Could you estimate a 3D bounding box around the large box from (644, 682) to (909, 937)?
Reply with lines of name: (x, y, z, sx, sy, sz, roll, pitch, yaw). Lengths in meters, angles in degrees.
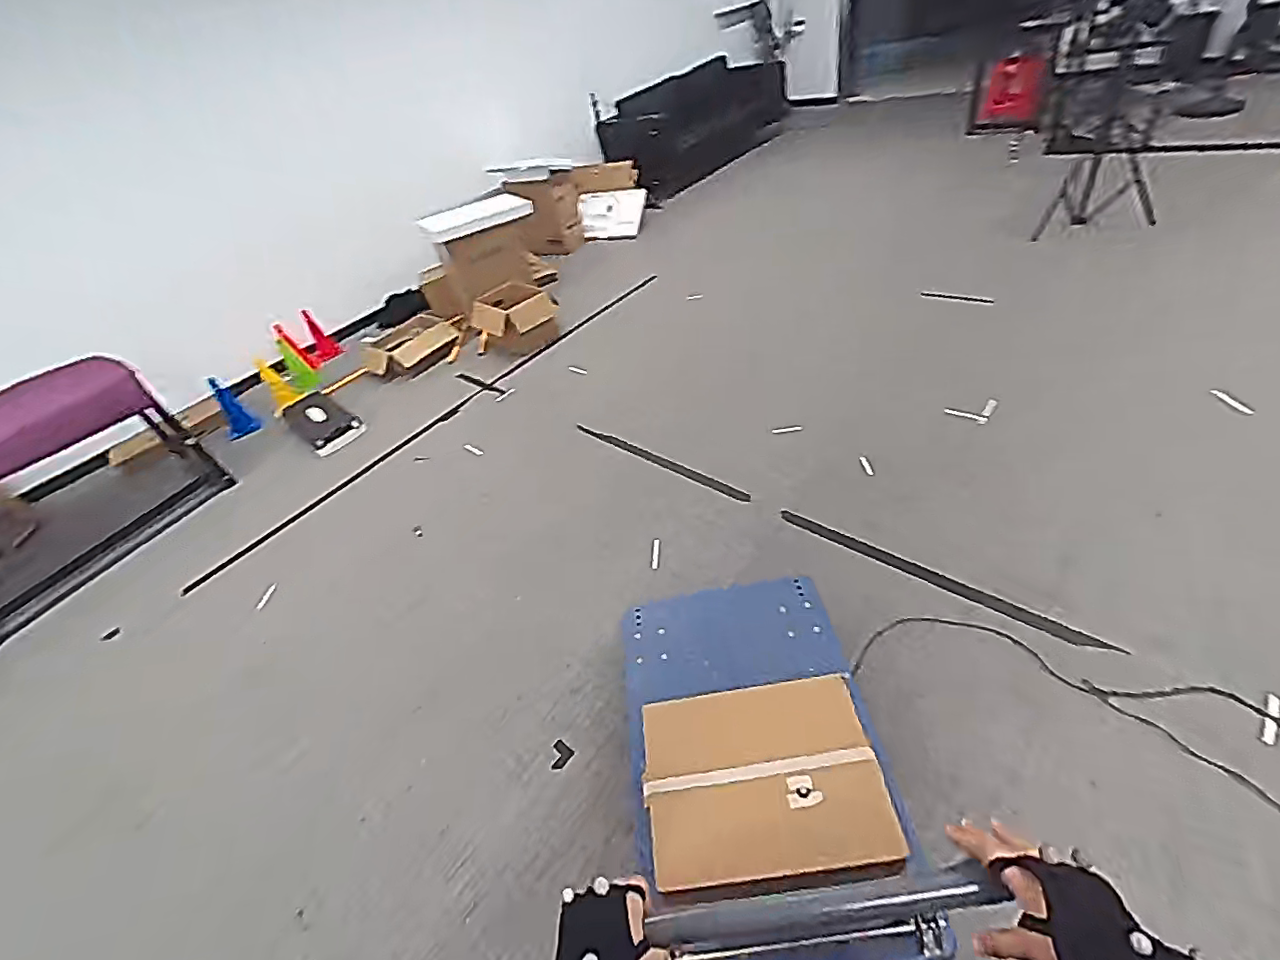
large box: (0.238, 0.643, 1.055, 0.408, 0.320, 0.320, -10, 42, 4)
